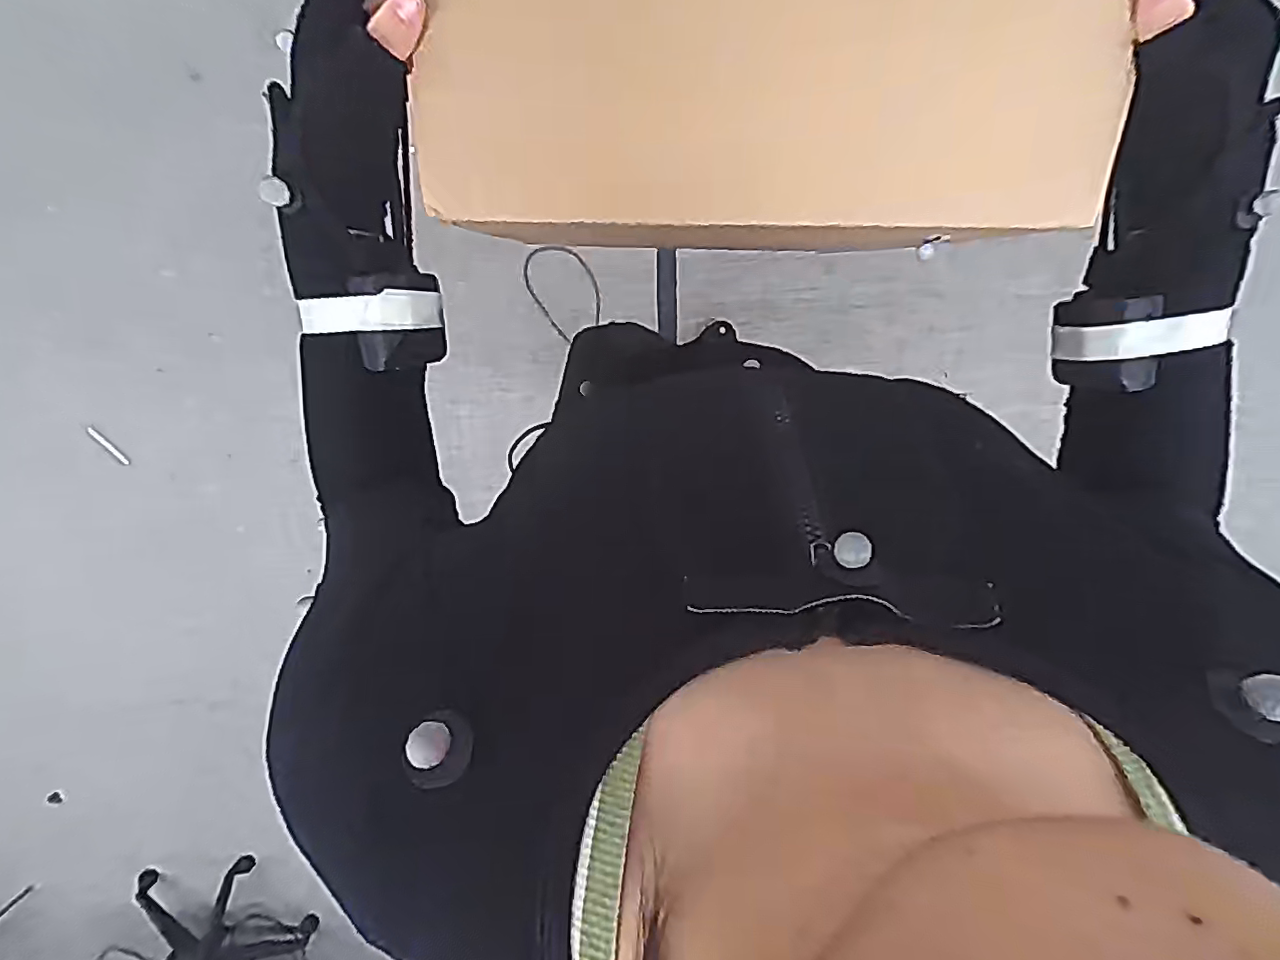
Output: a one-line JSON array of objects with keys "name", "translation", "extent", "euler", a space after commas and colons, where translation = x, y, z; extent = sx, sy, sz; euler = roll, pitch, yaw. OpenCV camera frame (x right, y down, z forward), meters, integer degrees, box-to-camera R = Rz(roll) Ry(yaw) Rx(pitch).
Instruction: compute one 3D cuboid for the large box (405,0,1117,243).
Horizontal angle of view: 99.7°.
[{"name": "large box", "translation": [0.068, -0.357, 0.421], "extent": [0.408, 0.320, 0.320], "euler": [0, 110, -2]}]
